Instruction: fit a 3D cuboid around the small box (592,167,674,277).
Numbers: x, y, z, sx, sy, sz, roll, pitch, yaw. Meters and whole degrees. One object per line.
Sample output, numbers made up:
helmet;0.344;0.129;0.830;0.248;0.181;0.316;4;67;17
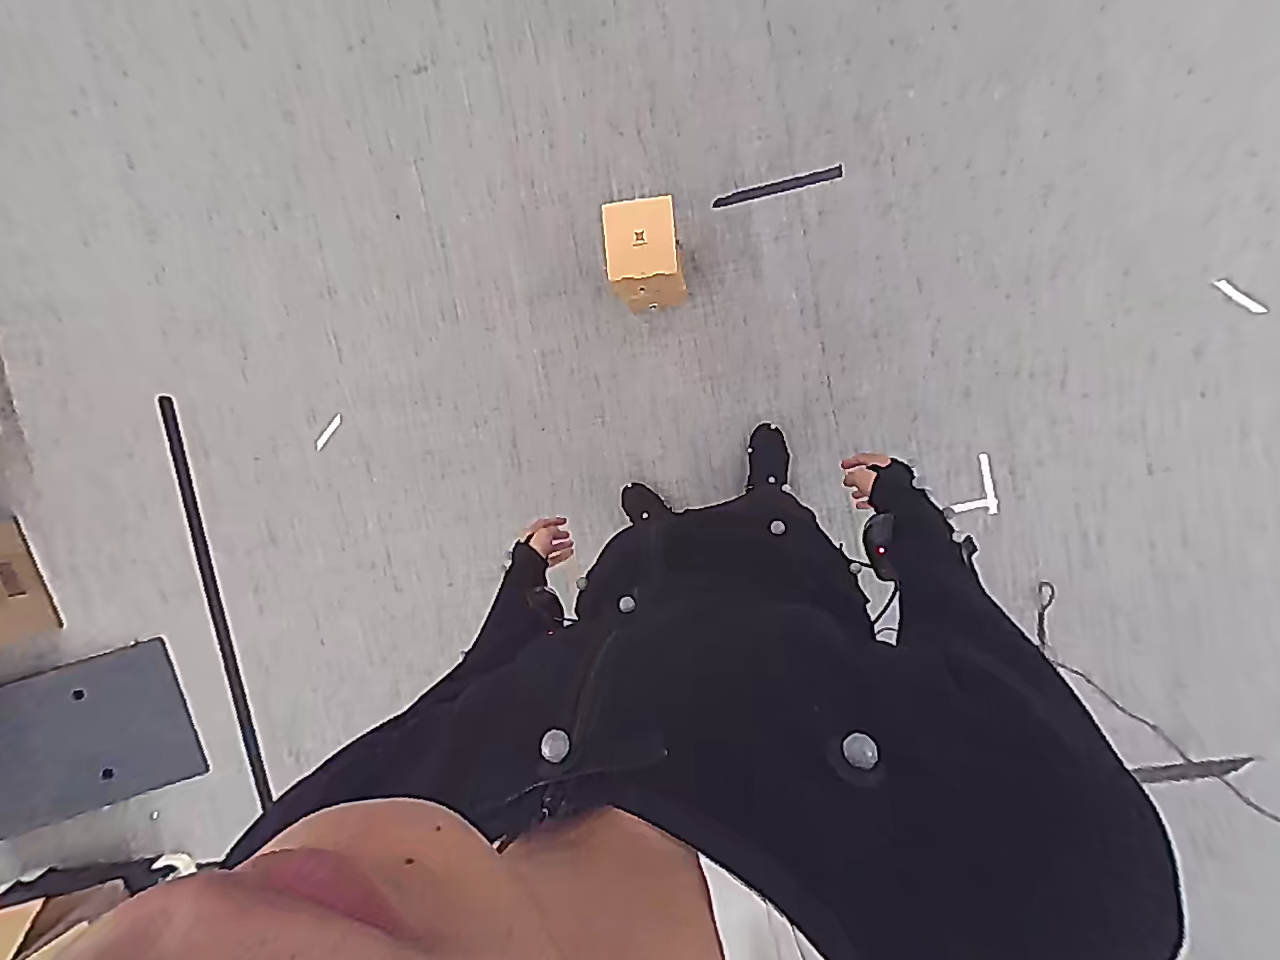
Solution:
small box;-0.011;-0.590;1.257;0.168;0.176;0.179;-5;96;6

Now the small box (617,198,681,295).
small box;0.015;-0.605;1.417;0.168;0.176;0.179;-8;95;6
